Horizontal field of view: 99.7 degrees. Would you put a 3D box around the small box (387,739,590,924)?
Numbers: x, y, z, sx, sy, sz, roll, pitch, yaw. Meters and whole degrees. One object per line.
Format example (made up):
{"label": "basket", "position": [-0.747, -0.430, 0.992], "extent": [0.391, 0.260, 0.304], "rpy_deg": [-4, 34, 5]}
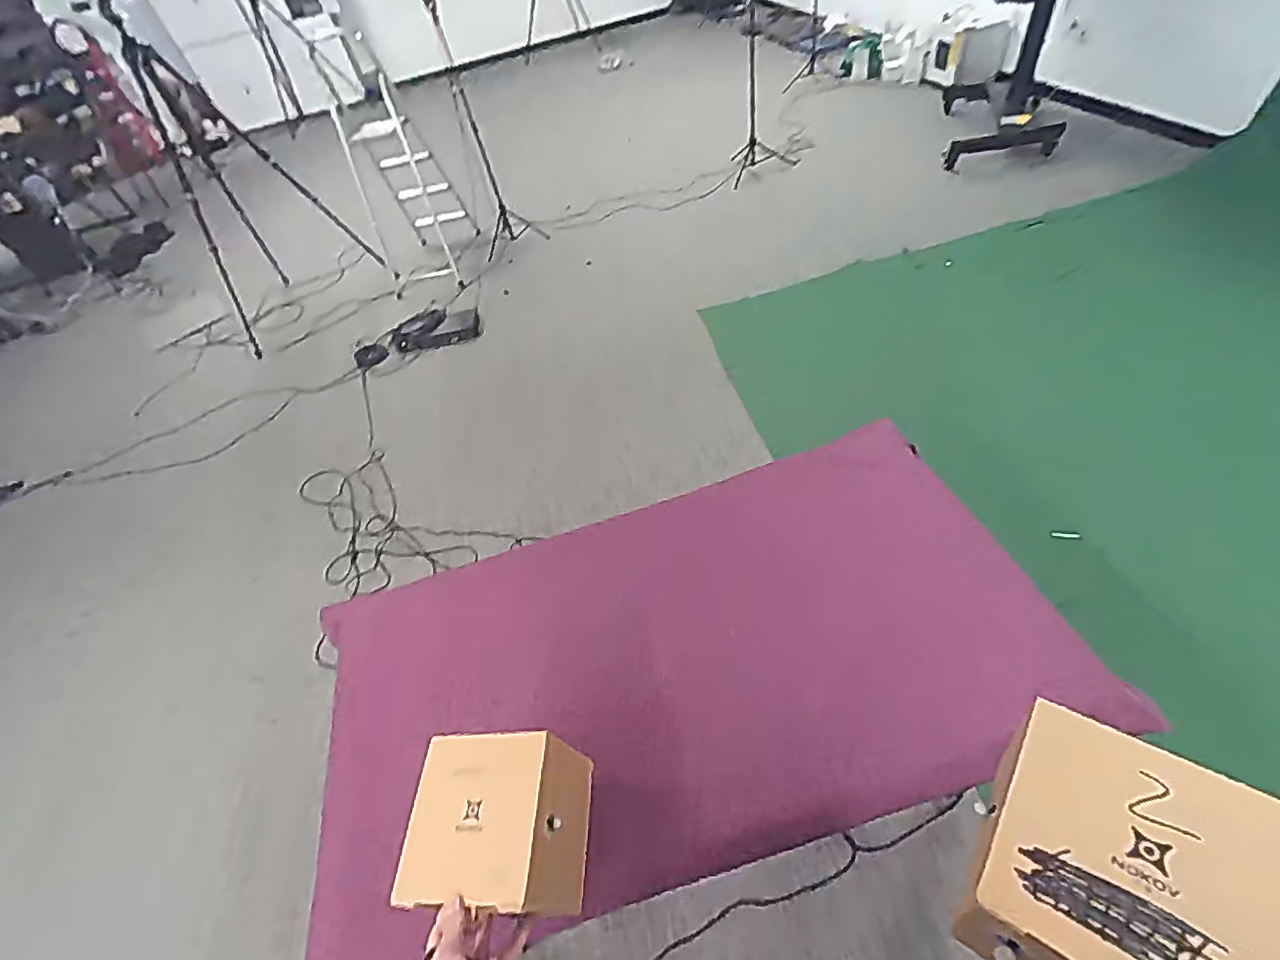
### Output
{"label": "small box", "position": [-0.172, 0.441, 0.680], "extent": [0.168, 0.176, 0.179], "rpy_deg": [-8, 49, 15]}
